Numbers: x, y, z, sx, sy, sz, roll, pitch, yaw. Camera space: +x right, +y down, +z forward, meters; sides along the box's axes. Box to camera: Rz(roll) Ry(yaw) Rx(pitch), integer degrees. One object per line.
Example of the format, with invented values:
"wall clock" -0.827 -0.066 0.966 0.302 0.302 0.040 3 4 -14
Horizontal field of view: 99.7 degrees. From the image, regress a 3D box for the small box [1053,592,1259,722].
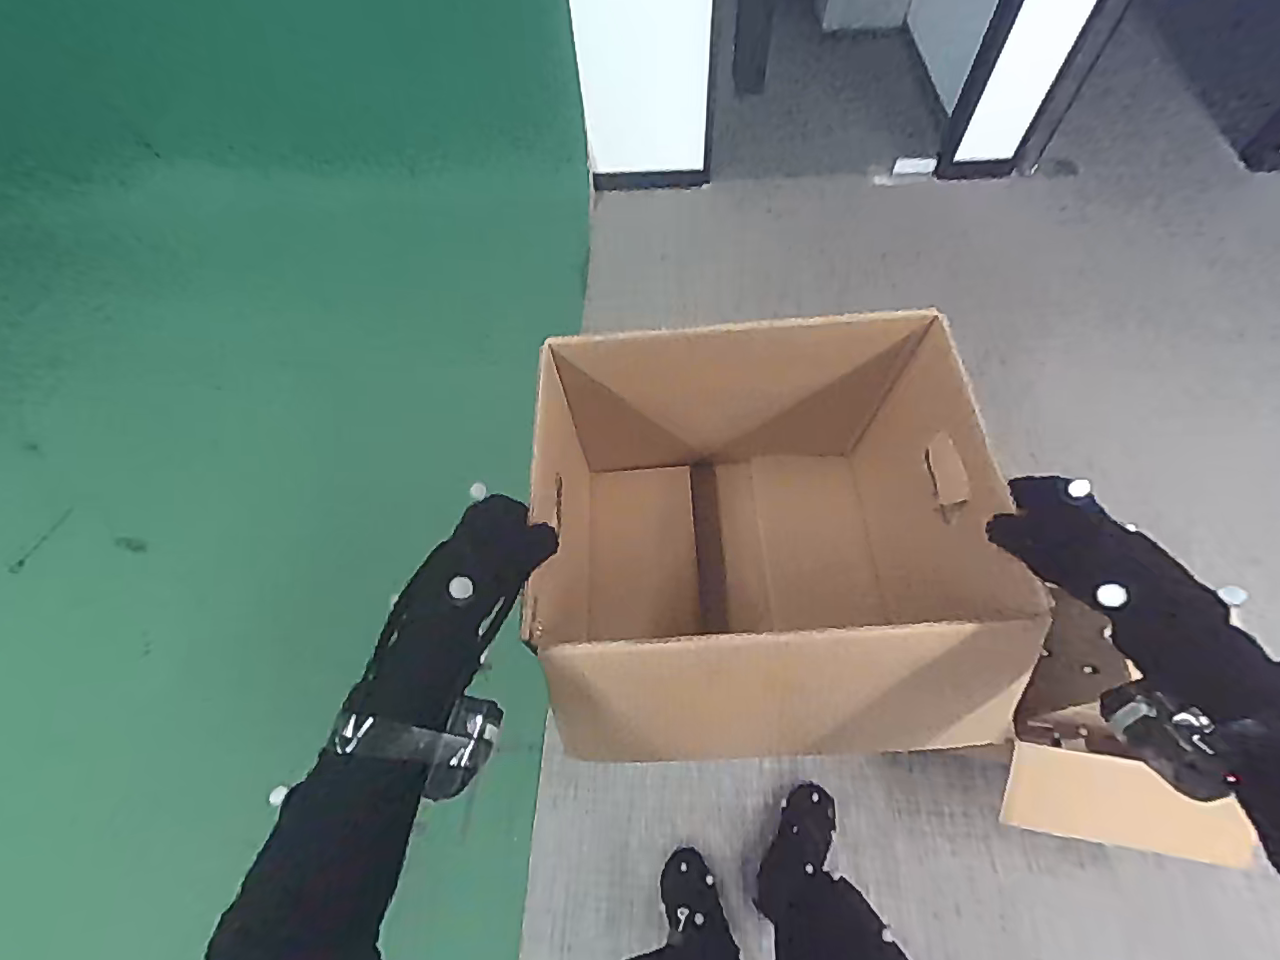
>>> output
"small box" 0.829 0.299 0.900 0.179 0.176 0.168 5 62 8
